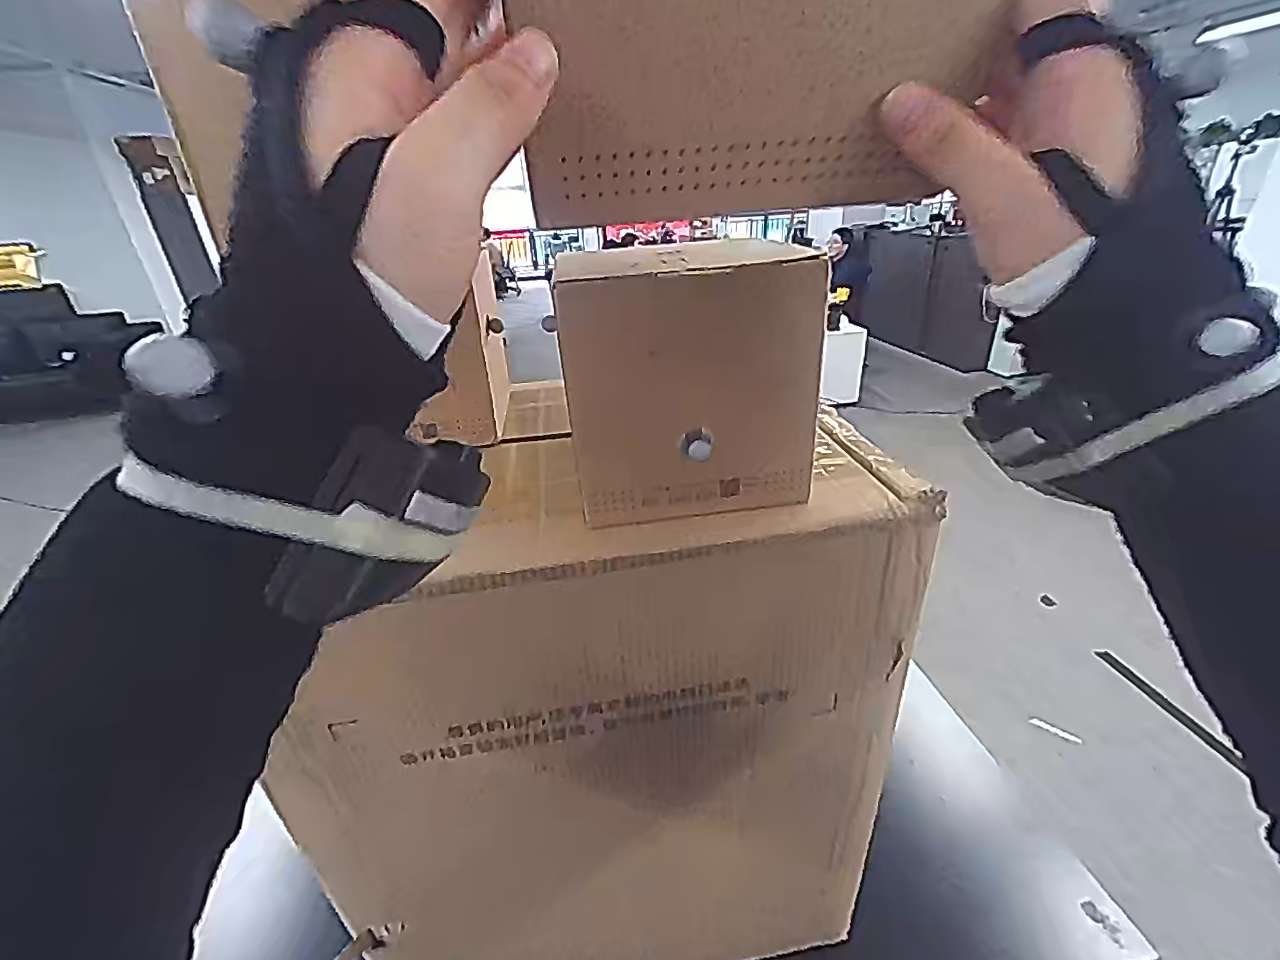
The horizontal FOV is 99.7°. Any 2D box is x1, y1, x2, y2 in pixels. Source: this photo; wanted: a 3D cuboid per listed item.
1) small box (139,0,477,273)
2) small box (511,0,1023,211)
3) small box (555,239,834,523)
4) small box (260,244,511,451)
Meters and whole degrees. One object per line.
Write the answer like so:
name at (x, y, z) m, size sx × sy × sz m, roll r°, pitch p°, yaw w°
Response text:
small box at (-0.232, -0.264, 0.435) m, size 0.168 × 0.176 × 0.179 m, roll -9°, pitch 27°, yaw -9°
small box at (0.036, -0.220, 0.204) m, size 0.179 × 0.176 × 0.168 m, roll -7°, pitch 51°, yaw -6°
small box at (0.029, -0.085, 0.420) m, size 0.168 × 0.176 × 0.179 m, roll -7°, pitch 28°, yaw -4°
small box at (-0.226, -0.133, 0.539) m, size 0.168 × 0.176 × 0.179 m, roll -6°, pitch 27°, yaw -7°
